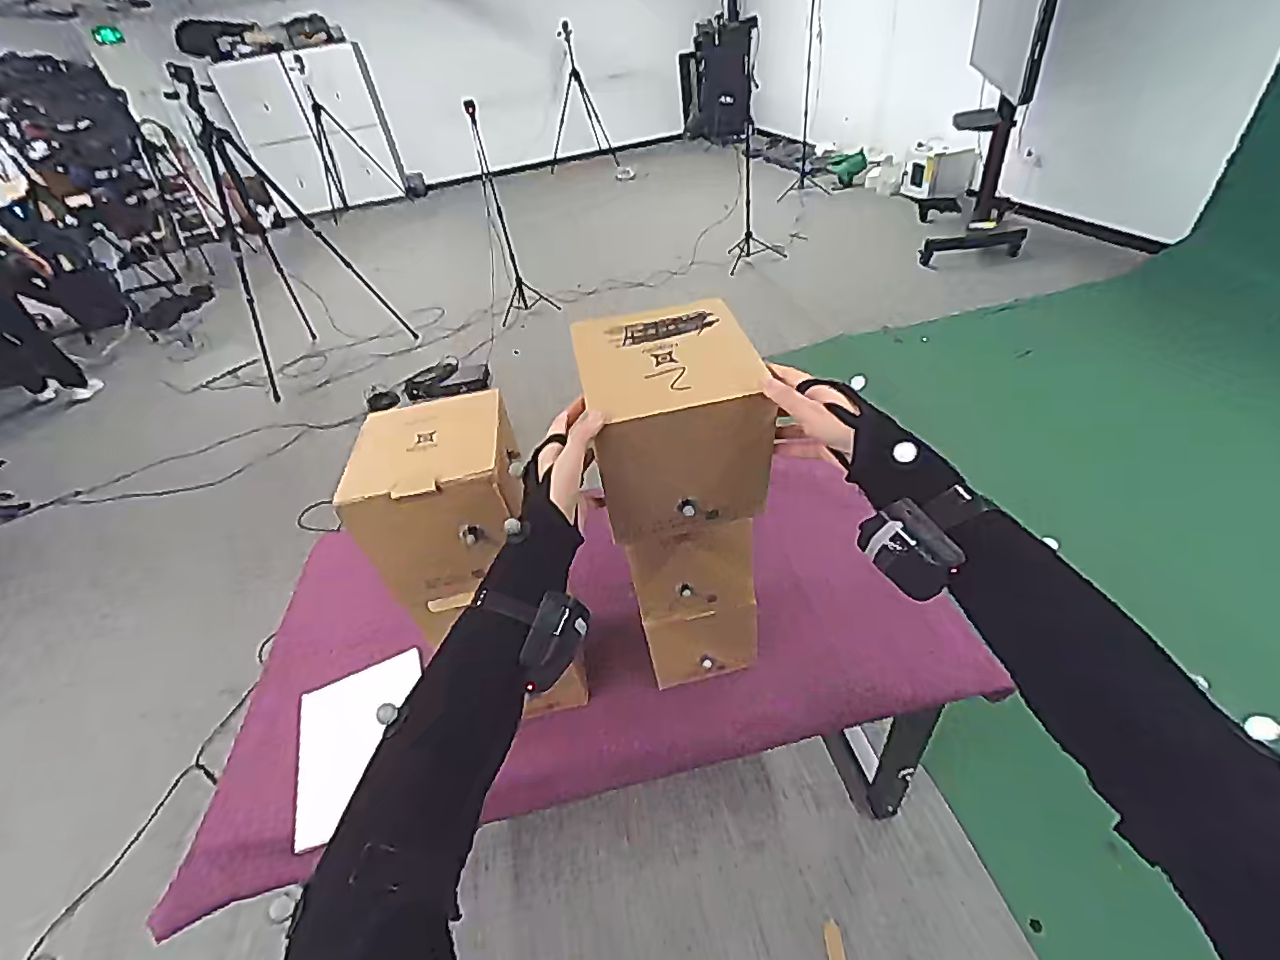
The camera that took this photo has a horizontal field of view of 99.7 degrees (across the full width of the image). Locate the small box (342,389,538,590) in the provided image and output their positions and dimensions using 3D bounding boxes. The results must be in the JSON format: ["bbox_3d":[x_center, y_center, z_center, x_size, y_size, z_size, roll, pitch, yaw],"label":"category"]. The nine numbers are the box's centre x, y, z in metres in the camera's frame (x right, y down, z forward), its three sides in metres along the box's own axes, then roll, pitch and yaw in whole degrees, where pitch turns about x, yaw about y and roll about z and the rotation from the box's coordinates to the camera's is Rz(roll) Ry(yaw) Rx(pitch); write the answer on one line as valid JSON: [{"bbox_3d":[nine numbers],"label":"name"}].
[{"bbox_3d":[-0.225,0.017,0.664,0.168,0.176,0.179,-11,39,-2],"label":"small box"}]

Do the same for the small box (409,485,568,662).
[{"bbox_3d":[-0.203,0.137,0.772,0.168,0.176,0.179,-12,39,-3],"label":"small box"}]

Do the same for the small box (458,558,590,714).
[{"bbox_3d":[-0.182,0.258,0.882,0.168,0.176,0.179,-12,40,-3],"label":"small box"}]

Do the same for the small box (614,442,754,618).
[{"bbox_3d":[0.061,0.072,0.792,0.168,0.176,0.179,-12,39,-3],"label":"small box"}]

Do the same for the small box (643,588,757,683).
[{"bbox_3d":[0.087,0.200,0.890,0.168,0.176,0.179,-13,39,-2],"label":"small box"}]
